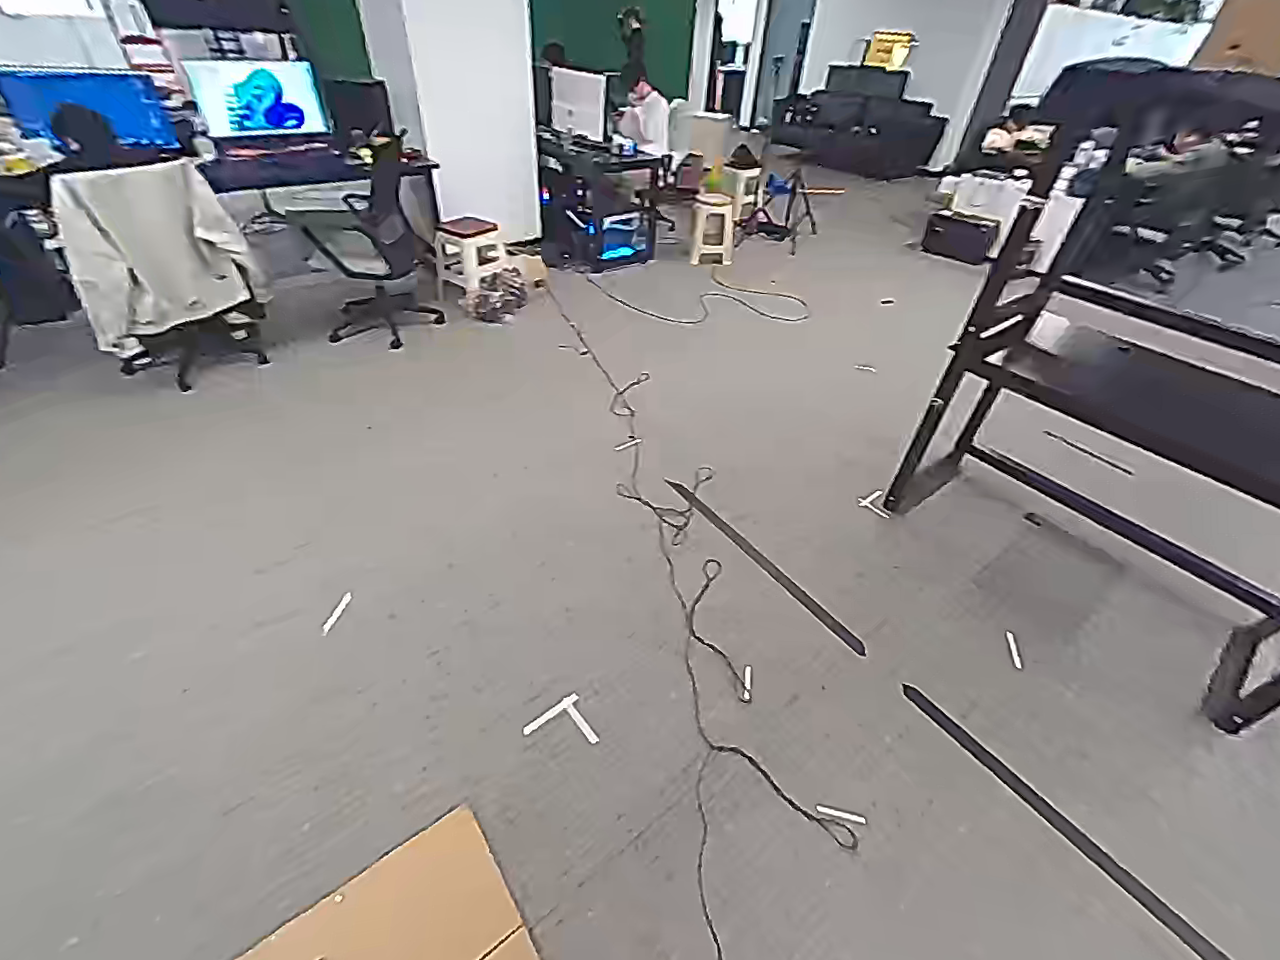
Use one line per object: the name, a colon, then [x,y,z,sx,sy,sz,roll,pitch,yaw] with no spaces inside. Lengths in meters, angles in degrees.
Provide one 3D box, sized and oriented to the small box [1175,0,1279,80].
small box: [1.324,-0.979,1.168,0.179,0.176,0.168,-24,49,-31]
